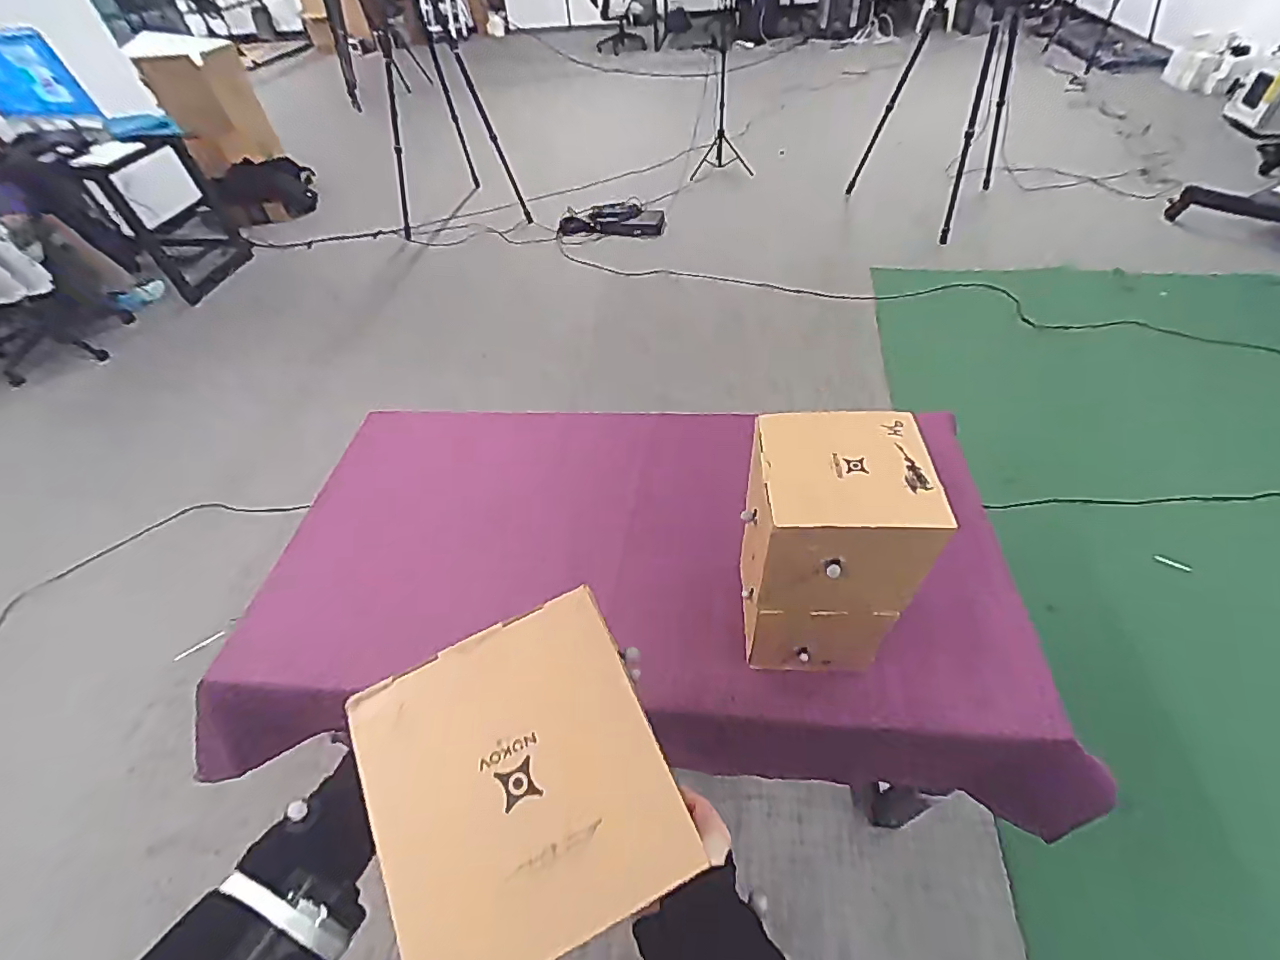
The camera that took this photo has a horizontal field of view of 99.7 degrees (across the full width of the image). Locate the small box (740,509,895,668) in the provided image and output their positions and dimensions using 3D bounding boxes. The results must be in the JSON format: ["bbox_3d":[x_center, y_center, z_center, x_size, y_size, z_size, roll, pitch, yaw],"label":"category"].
[{"bbox_3d":[0.232,0.144,0.760,0.168,0.176,0.179,0,49,5],"label":"small box"}]

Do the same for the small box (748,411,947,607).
[{"bbox_3d":[0.221,0.038,0.636,0.179,0.176,0.168,-1,49,6],"label":"small box"}]

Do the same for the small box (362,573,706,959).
[{"bbox_3d":[-0.069,0.198,0.398,0.168,0.176,0.179,-23,66,-9],"label":"small box"}]
